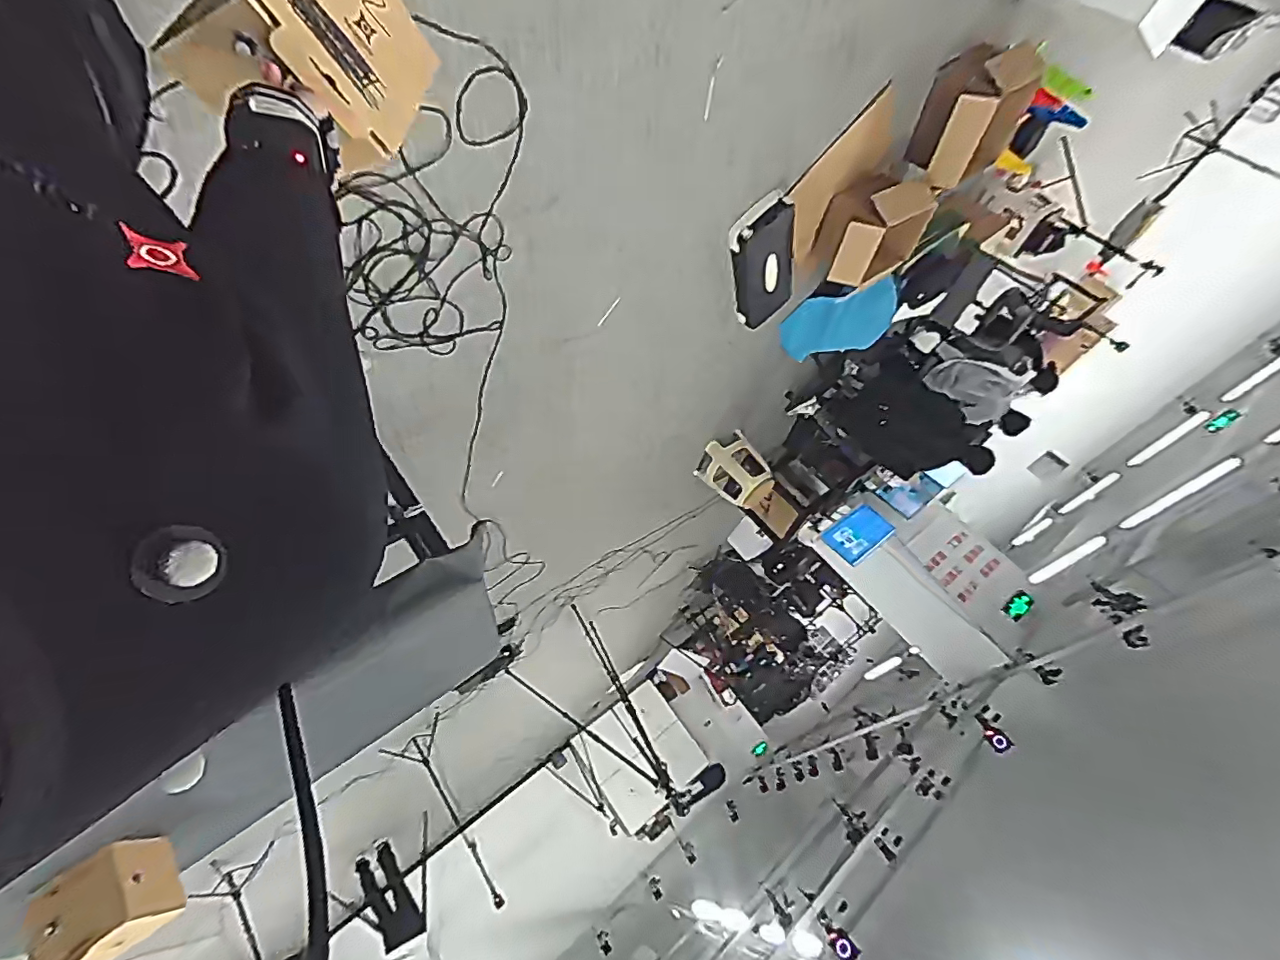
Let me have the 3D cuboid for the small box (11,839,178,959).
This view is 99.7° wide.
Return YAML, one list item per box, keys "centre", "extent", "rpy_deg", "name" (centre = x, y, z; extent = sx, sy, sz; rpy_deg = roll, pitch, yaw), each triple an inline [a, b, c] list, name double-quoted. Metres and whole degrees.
- centre: [-1.125, 0.884, 1.120]
  extent: [0.168, 0.176, 0.179]
  rpy_deg: [-32, 157, -20]
  name: "small box"
